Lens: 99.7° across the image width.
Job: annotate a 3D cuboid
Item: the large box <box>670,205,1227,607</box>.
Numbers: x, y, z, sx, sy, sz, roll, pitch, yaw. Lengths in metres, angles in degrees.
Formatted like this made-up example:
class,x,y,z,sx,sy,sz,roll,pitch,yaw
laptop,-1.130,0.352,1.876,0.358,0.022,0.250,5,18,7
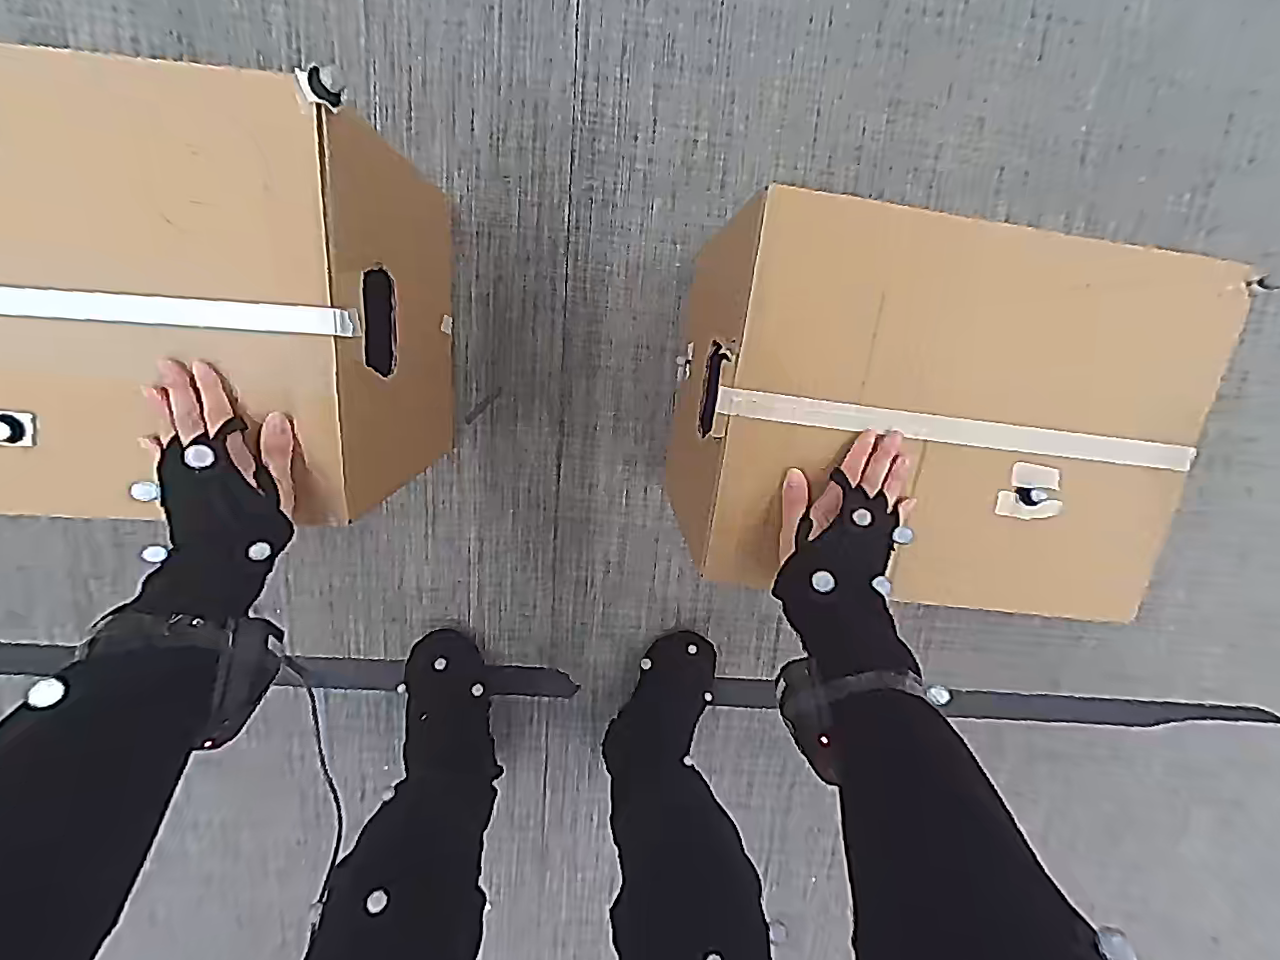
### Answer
class,x,y,z,sx,sy,sz,roll,pitch,yaw
large box,0.263,-0.078,0.606,0.408,0.320,0.320,6,104,-6
